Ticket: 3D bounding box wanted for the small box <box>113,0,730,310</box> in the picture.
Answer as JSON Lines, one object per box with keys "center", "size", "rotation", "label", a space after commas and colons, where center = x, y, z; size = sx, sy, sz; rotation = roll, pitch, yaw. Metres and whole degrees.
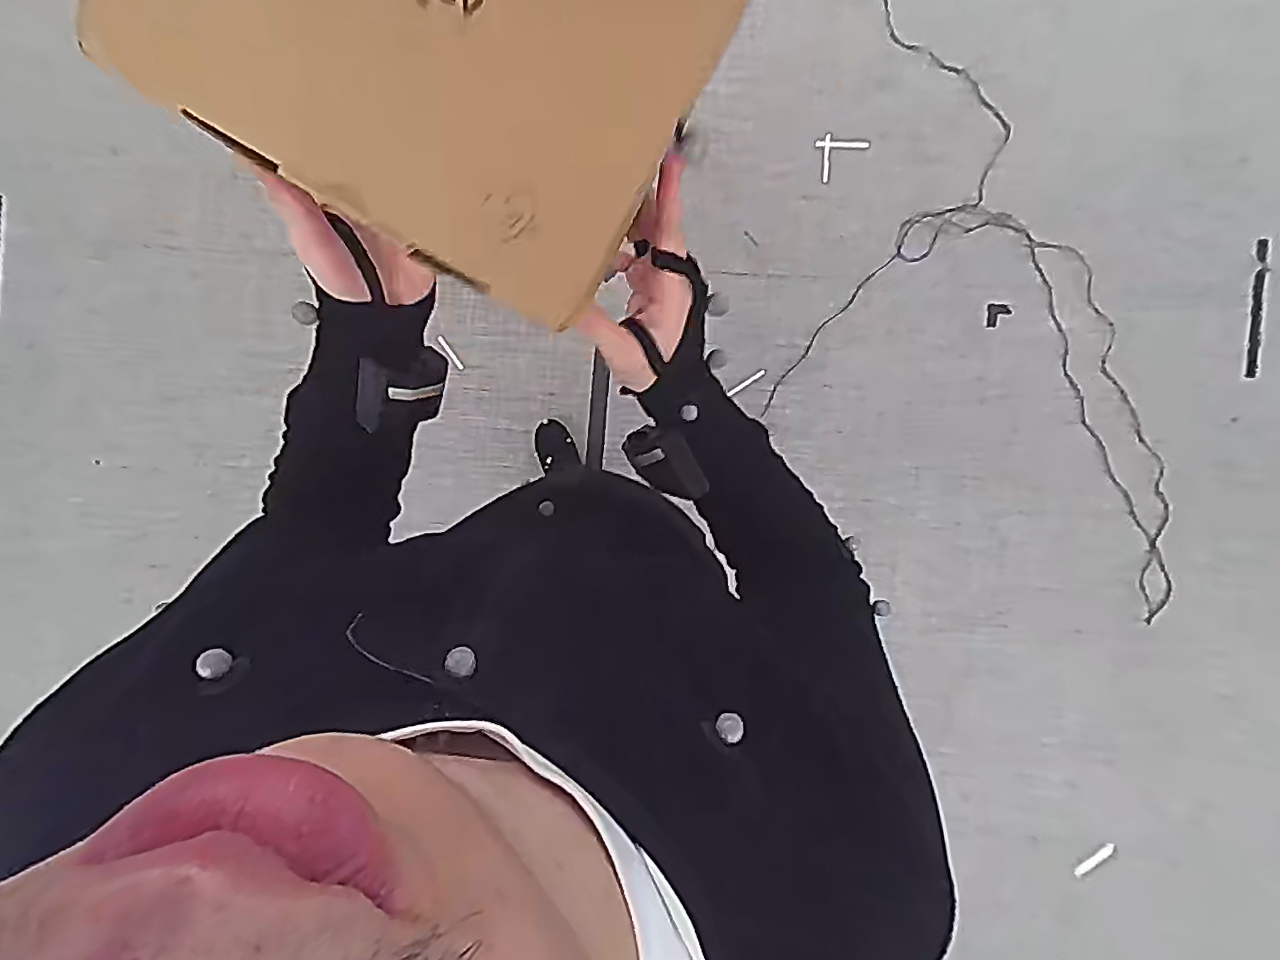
{"center": [-0.061, -0.199, 0.236], "size": [0.168, 0.176, 0.179], "rotation": [26, 109, -12], "label": "small box"}
